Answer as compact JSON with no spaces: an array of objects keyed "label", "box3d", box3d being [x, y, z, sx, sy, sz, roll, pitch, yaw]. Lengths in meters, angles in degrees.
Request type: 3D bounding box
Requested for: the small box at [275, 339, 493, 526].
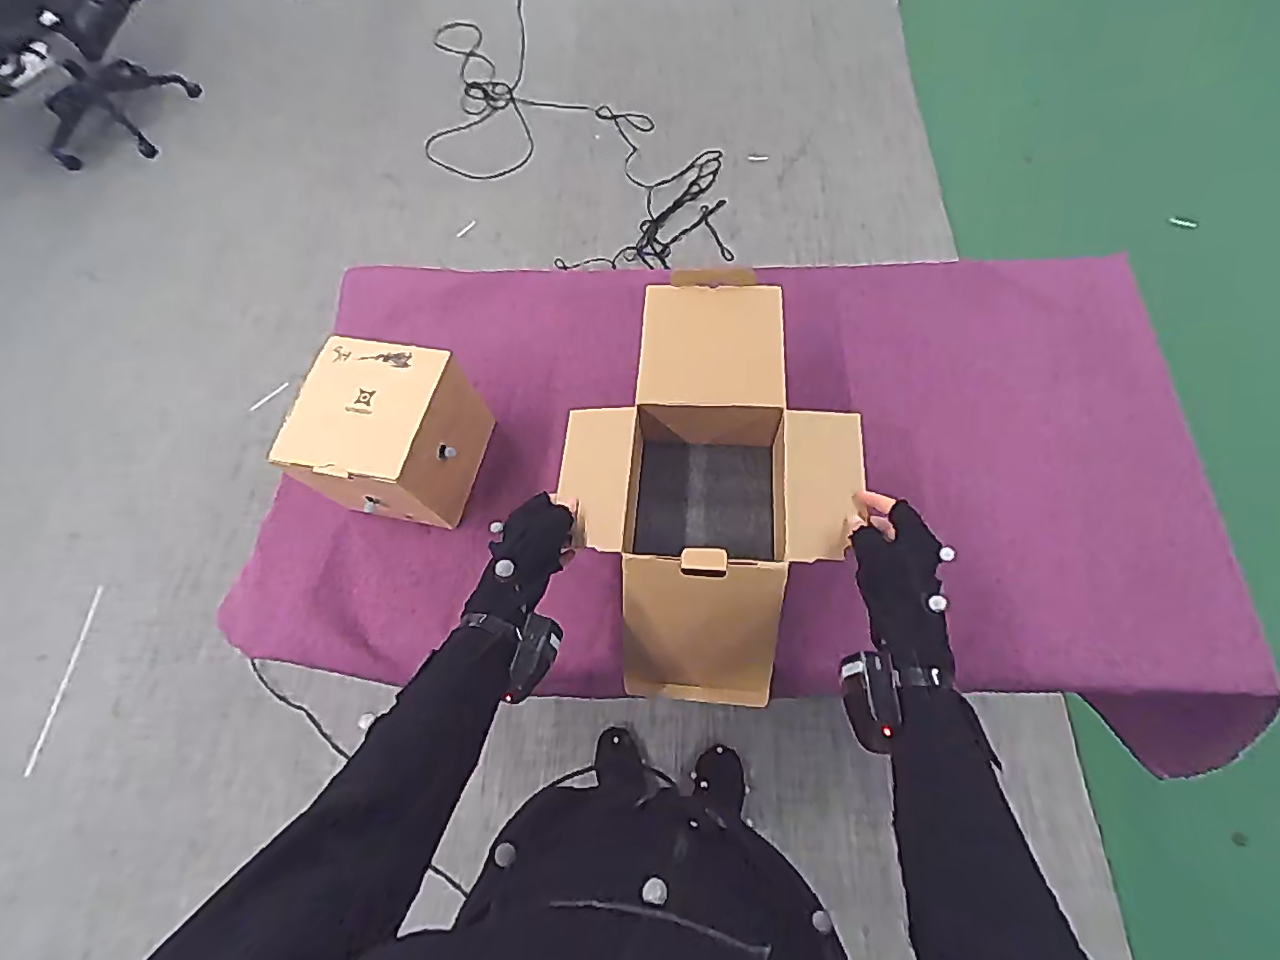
[{"label":"small box","box3d":[-0.311,-0.053,0.702,0.168,0.176,0.179,10,69,9]}]
